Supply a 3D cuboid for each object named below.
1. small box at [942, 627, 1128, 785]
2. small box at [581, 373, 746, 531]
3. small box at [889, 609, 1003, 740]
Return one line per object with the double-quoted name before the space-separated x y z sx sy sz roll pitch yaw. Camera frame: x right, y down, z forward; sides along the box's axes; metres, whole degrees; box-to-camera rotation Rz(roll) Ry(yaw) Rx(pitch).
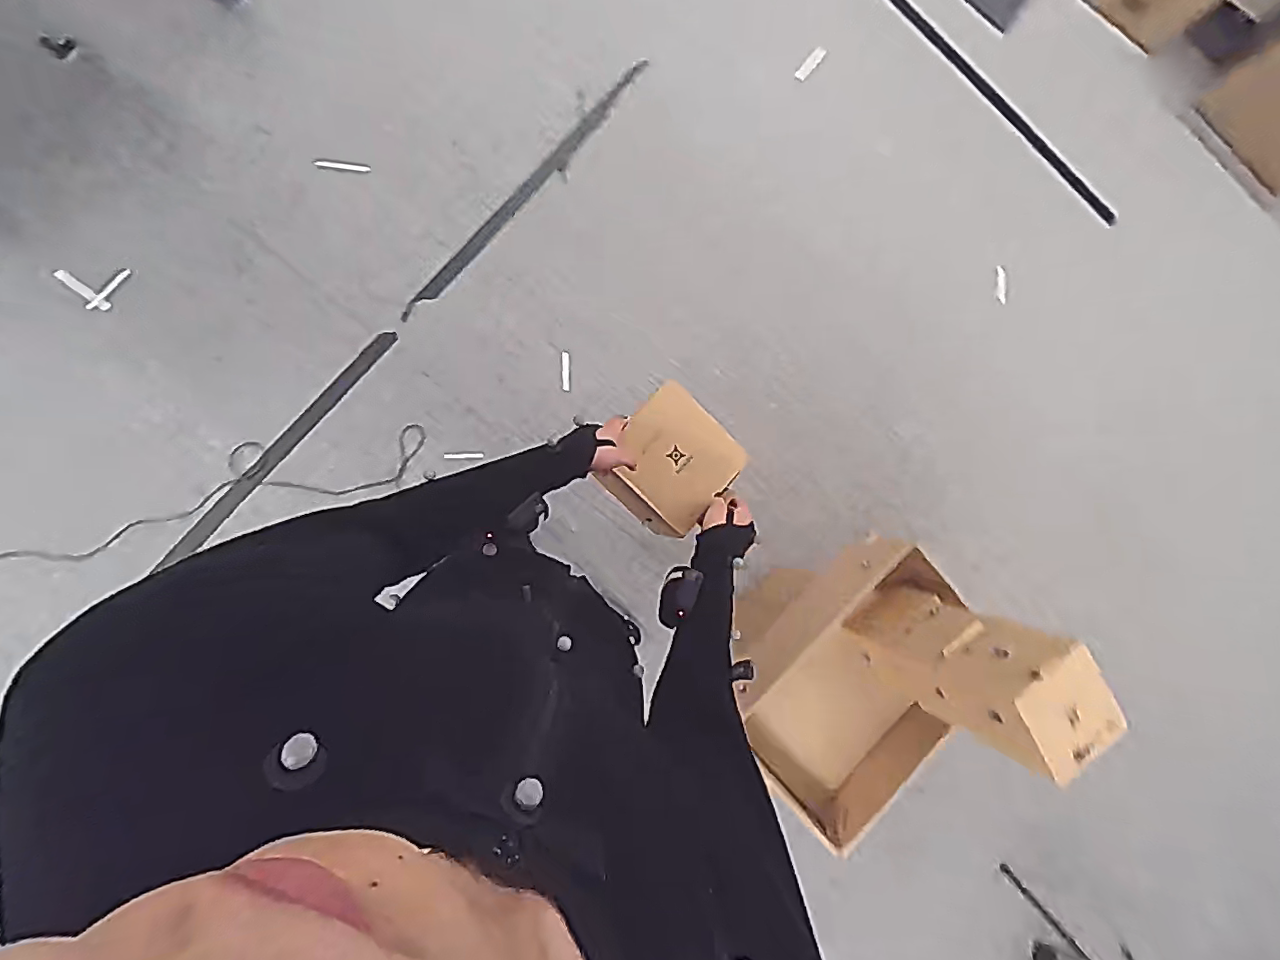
"small box" 0.679 0.377 0.949 0.168 0.176 0.179 -30 94 -9
"small box" 0.029 -0.040 0.863 0.179 0.176 0.168 44 78 -8
"small box" 0.655 0.384 1.112 0.168 0.176 0.179 -34 96 -9
